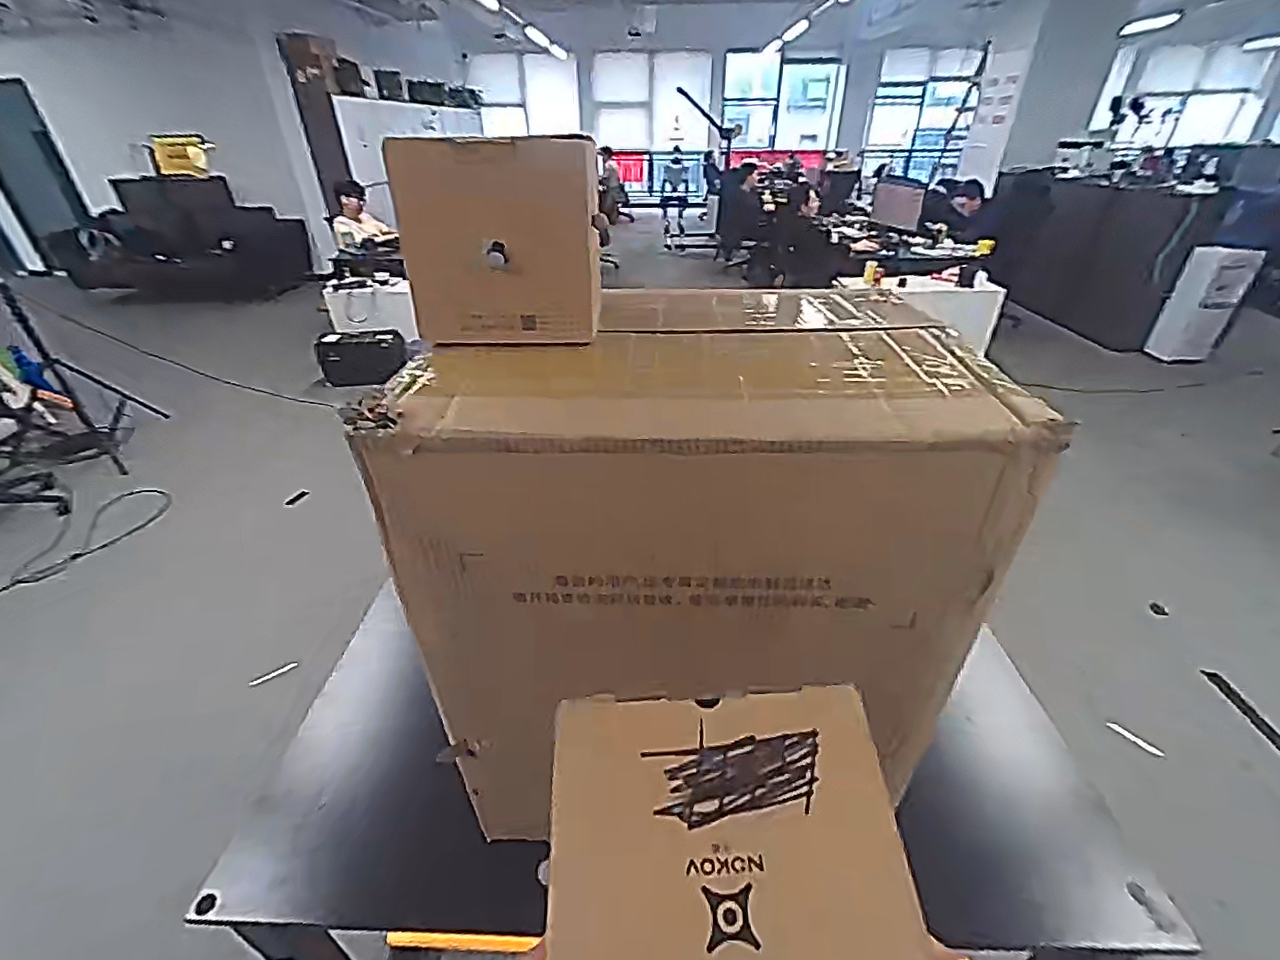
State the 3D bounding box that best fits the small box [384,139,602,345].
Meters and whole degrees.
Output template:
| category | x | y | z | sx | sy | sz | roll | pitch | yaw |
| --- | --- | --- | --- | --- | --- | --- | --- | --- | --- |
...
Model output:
| category | x | y | z | sx | sy | sz | roll | pitch | yaw |
| --- | --- | --- | --- | --- | --- | --- | --- | --- | --- |
| small box | -0.125 | -0.240 | 0.544 | 0.168 | 0.176 | 0.179 | -1 | 32 | -2 |
